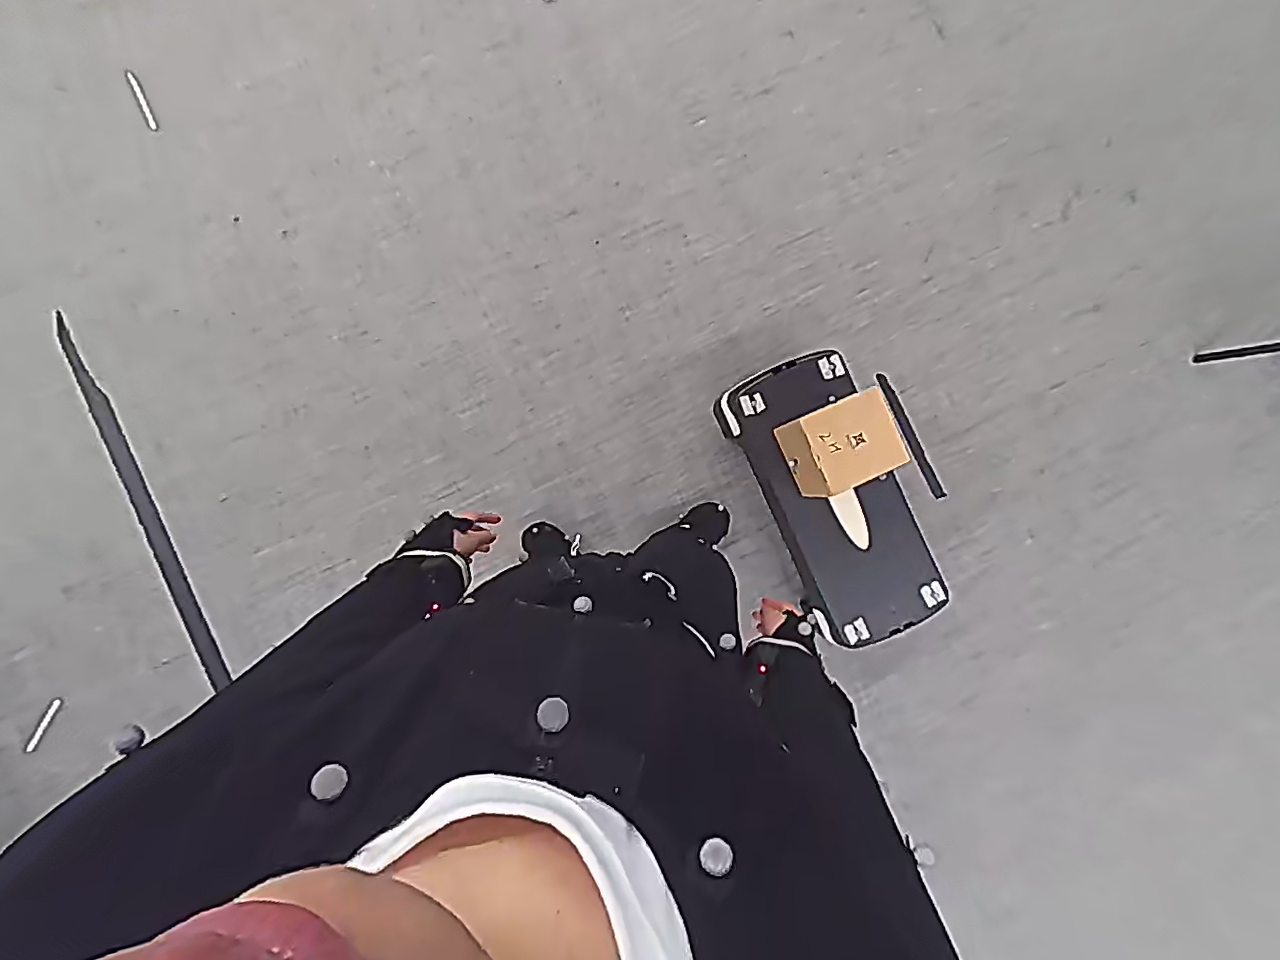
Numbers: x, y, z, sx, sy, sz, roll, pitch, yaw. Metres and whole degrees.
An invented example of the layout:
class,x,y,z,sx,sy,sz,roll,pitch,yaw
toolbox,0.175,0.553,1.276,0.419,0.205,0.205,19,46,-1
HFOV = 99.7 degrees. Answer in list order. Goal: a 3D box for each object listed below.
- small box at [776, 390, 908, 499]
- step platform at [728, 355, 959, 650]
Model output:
class,x,y,z,sx,sy,sz,roll,pitch,yaw
small box,0.413,-0.069,1.133,0.179,0.176,0.168,-24,89,-3
step platform,0.477,0.052,1.306,0.286,0.204,0.684,-25,89,-4
